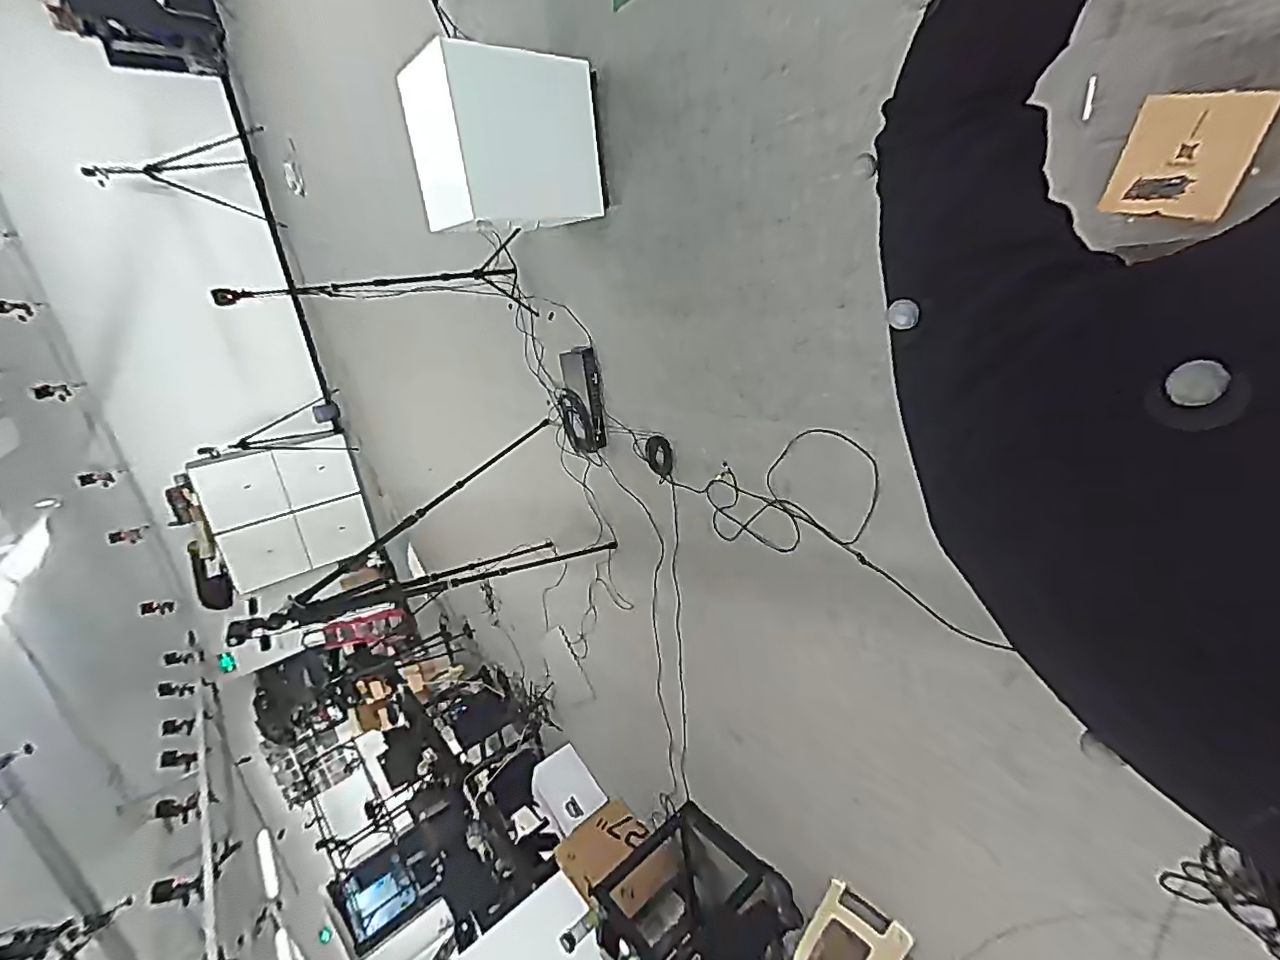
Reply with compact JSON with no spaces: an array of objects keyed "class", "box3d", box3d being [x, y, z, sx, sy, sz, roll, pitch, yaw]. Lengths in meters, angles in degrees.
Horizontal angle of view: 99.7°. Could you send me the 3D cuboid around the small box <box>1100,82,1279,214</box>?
[{"class":"small box","box3d":[0.940,-0.559,0.920,0.168,0.176,0.179,32,130,39]}]
